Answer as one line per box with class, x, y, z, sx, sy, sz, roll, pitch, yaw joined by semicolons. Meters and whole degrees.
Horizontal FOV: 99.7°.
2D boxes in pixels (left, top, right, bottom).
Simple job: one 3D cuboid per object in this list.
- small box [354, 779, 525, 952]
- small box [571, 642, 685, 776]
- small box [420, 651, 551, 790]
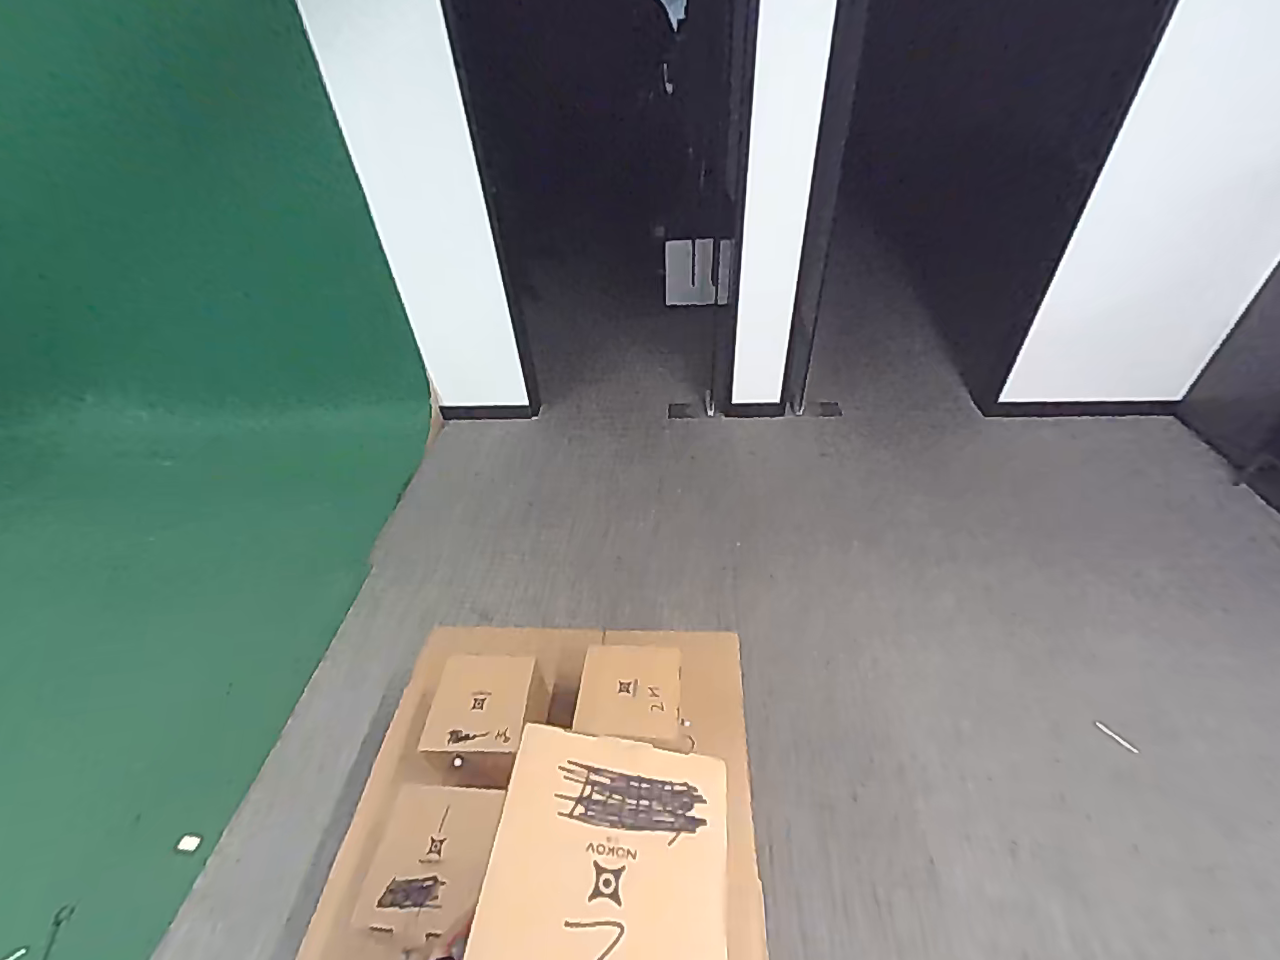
small box;-0.282;0.578;0.810;0.168;0.176;0.179;0;41;6
small box;-0.012;0.414;0.978;0.179;0.176;0.168;1;41;8
small box;-0.264;0.431;0.976;0.168;0.176;0.179;-2;40;5
